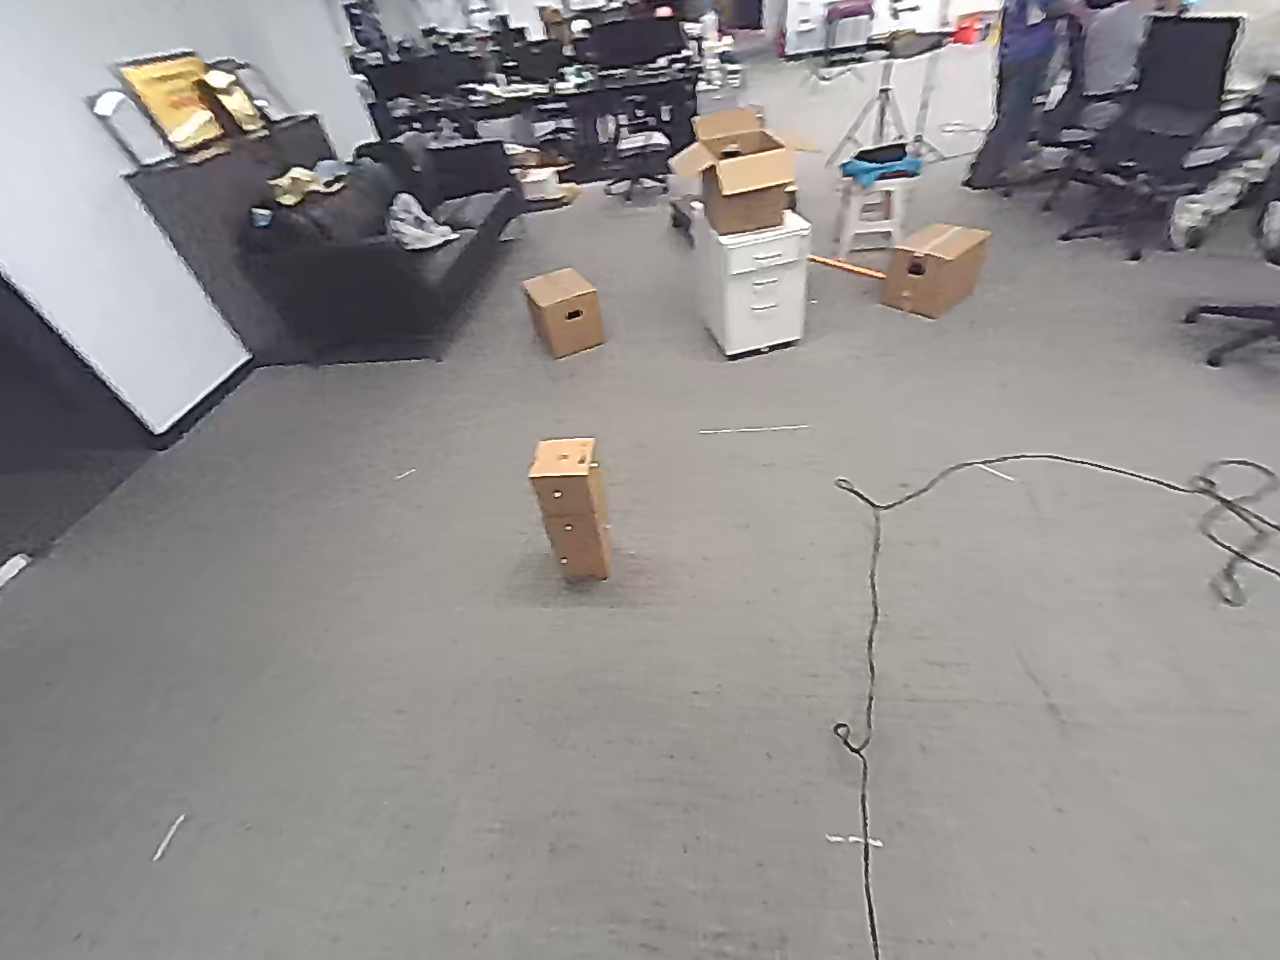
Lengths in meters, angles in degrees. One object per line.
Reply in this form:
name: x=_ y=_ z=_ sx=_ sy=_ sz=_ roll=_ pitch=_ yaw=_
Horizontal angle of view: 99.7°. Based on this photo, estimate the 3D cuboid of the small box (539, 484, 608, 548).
small box: x=-0.211 y=0.112 z=1.768 sx=0.179 sy=0.176 sz=0.168 roll=-2 pitch=44 yaw=7

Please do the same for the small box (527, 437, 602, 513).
small box: x=-0.225 y=-0.012 z=1.662 sx=0.179 sy=0.176 sz=0.168 roll=-3 pitch=44 yaw=8
